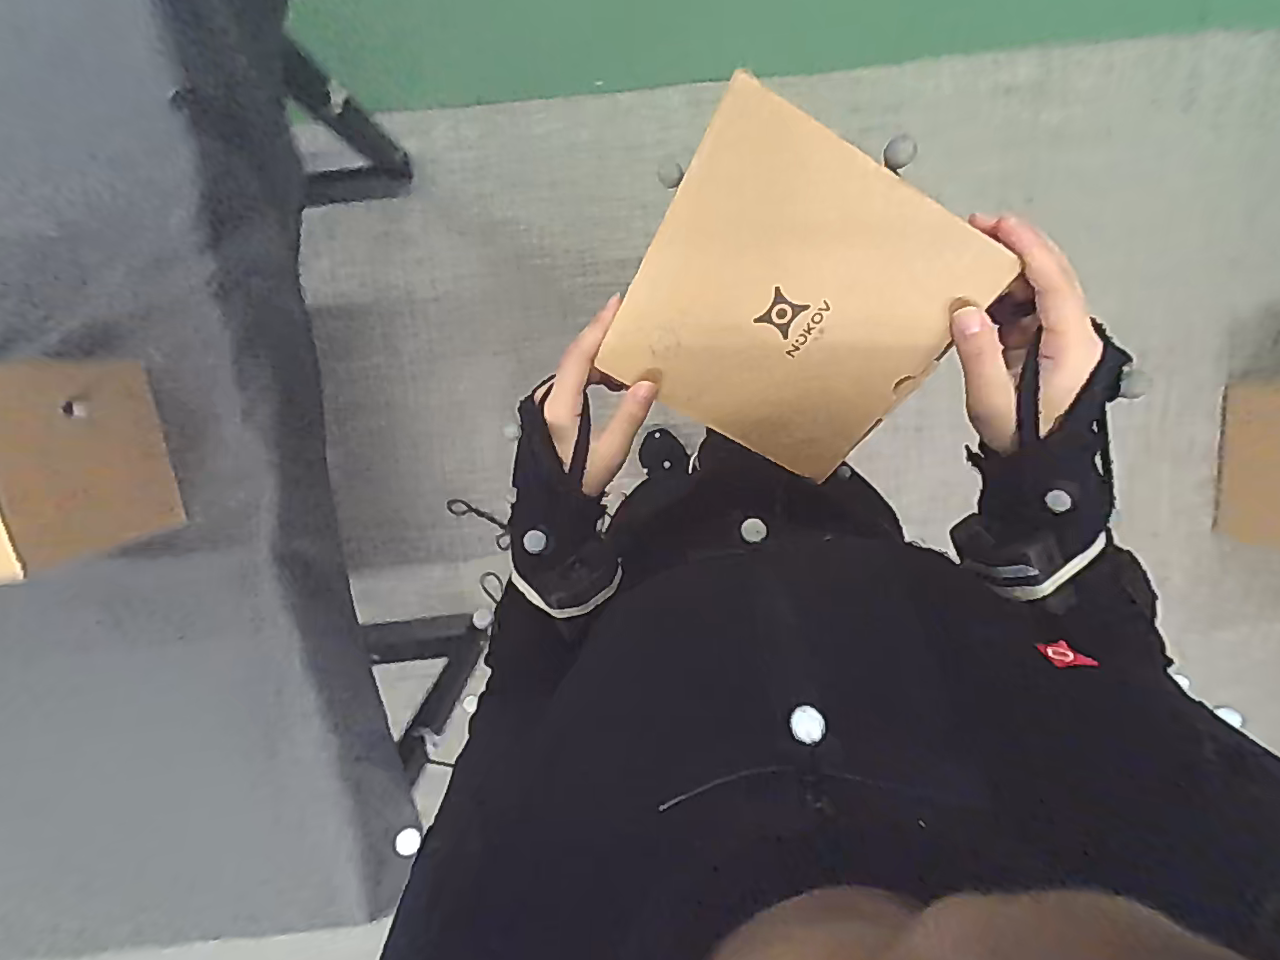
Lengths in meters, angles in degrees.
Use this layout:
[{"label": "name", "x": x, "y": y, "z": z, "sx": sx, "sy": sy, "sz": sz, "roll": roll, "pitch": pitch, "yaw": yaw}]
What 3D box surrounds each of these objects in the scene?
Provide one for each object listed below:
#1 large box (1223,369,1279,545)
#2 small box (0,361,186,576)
[{"label": "large box", "x": 1.624, "y": -0.057, "z": 1.212, "sx": 0.320, "sy": 0.320, "sz": 0.408, "roll": -9, "pitch": 102, "yaw": 1}, {"label": "small box", "x": -0.589, "y": -0.015, "z": 0.507, "sx": 0.168, "sy": 0.176, "sz": 0.179, "roll": -7, "pitch": 102, "yaw": 2}]
